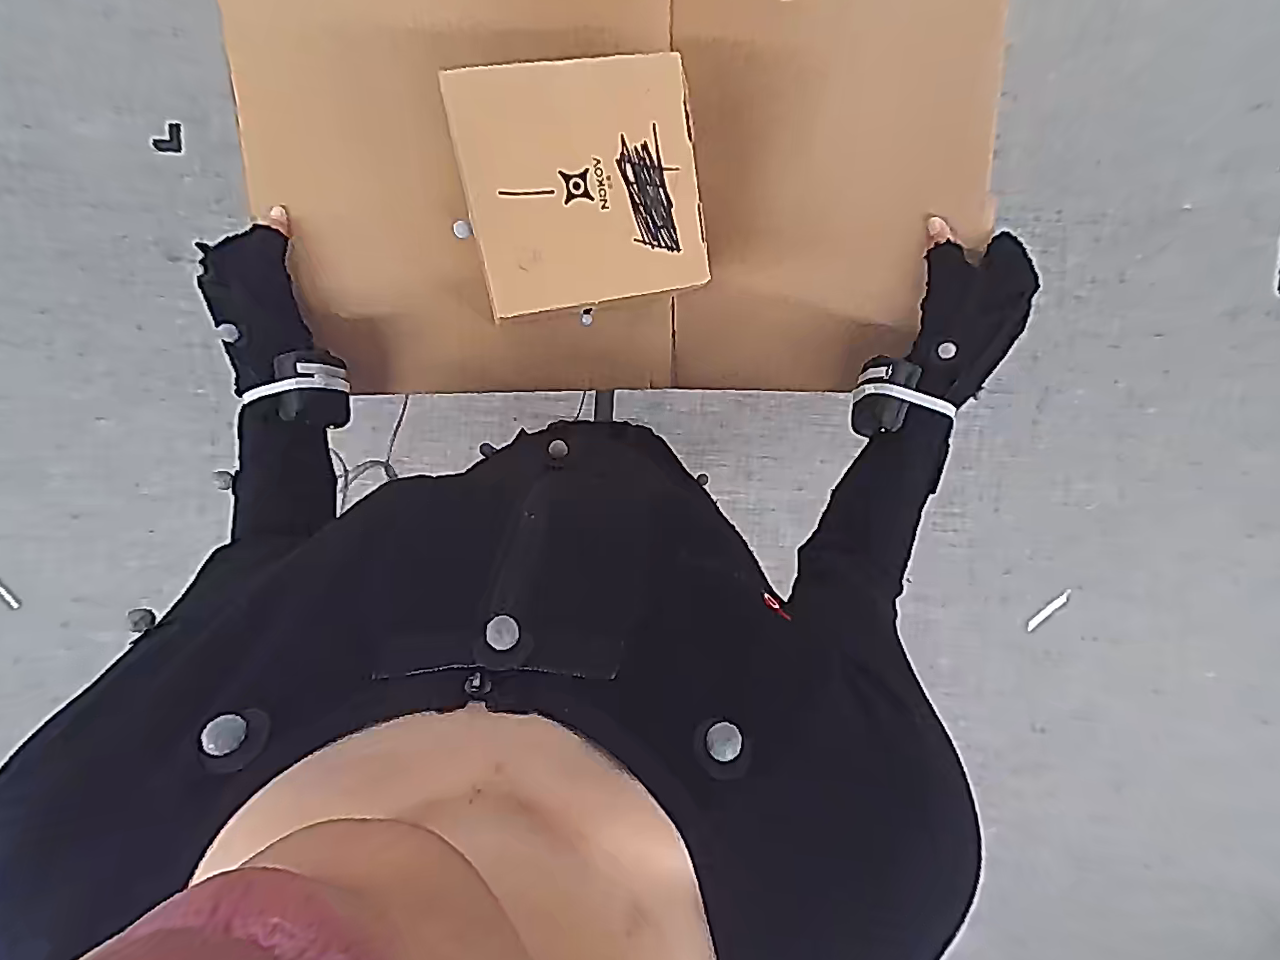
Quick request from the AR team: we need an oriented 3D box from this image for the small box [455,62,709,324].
[{"bbox_3d":[-0.056,-0.240,0.490,0.179,0.176,0.168,-13,105,-11],"label":"small box"}]
